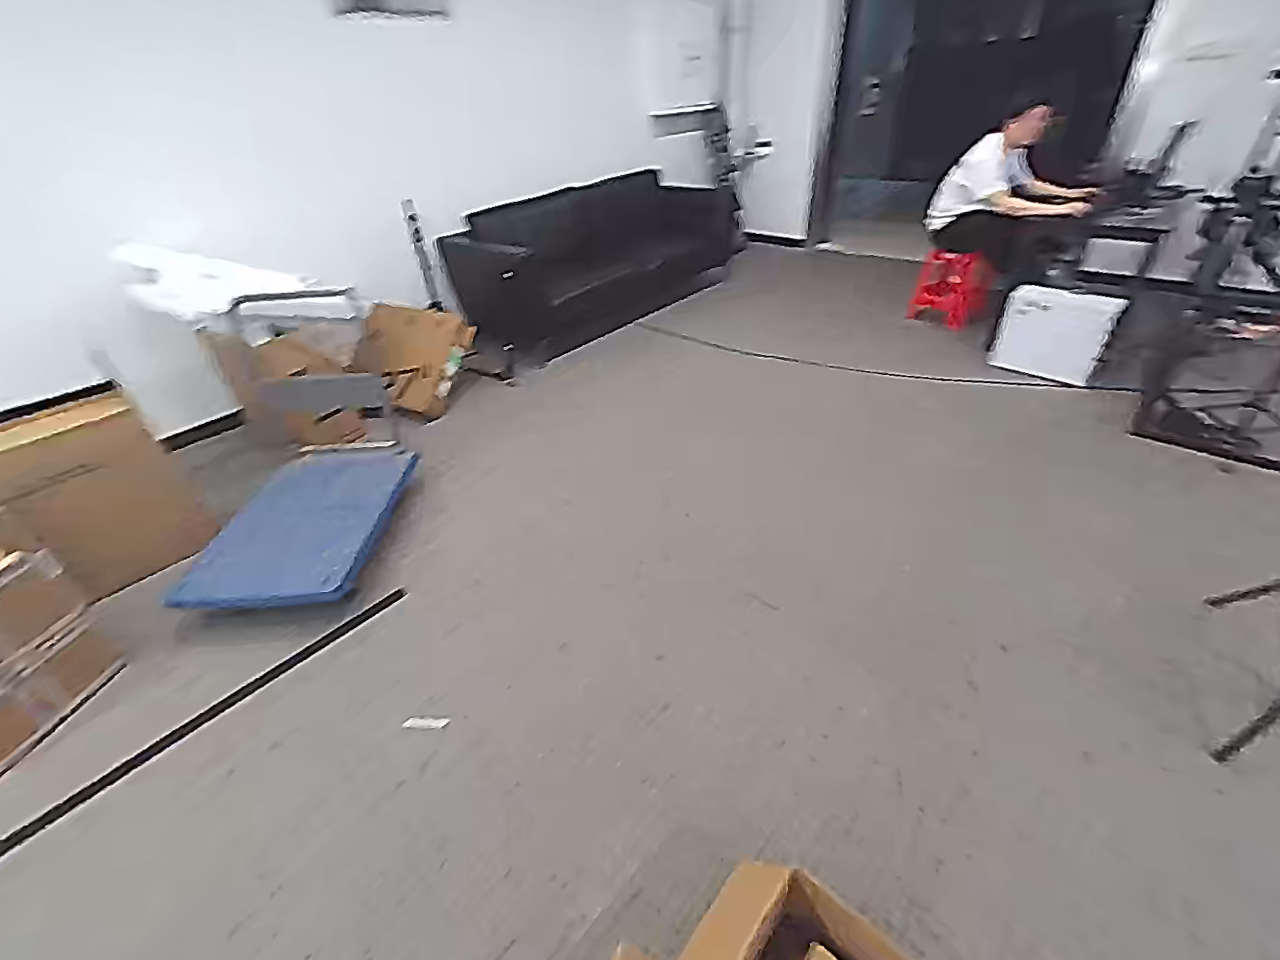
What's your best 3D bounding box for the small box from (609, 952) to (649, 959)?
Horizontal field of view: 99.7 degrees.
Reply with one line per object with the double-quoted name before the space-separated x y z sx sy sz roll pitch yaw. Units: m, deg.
"small box" 0.017 0.491 0.390 0.179 0.176 0.168 25 60 16
